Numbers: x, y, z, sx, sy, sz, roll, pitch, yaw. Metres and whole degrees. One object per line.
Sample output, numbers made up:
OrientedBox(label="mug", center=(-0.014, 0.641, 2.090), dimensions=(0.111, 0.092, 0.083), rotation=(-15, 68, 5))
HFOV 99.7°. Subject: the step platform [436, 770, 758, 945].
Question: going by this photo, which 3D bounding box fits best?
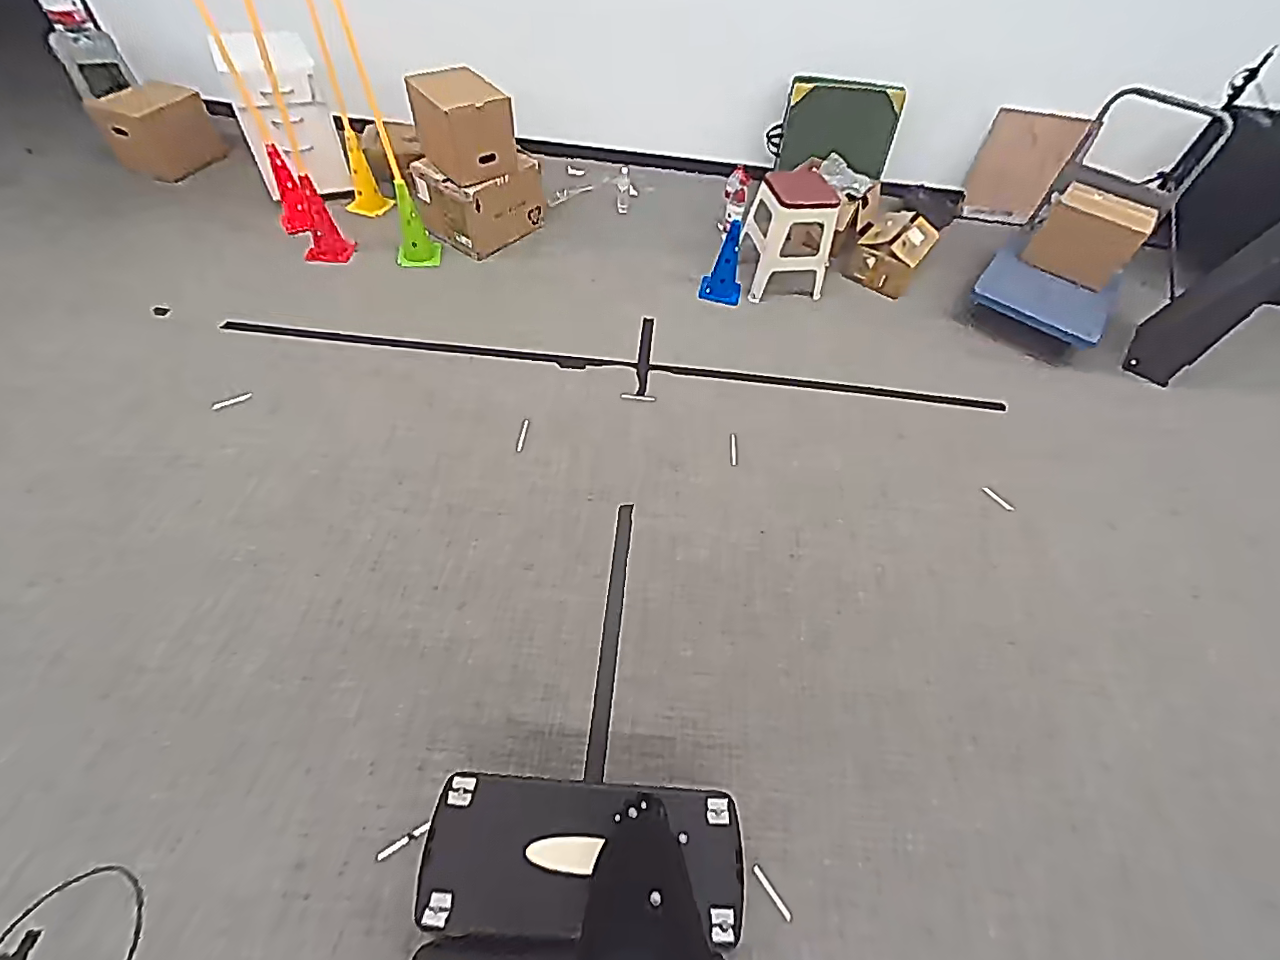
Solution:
OrientedBox(label="step platform", center=(-0.087, 0.830, 1.203), dimensions=(0.684, 0.204, 0.286), rotation=(6, 53, -3))
